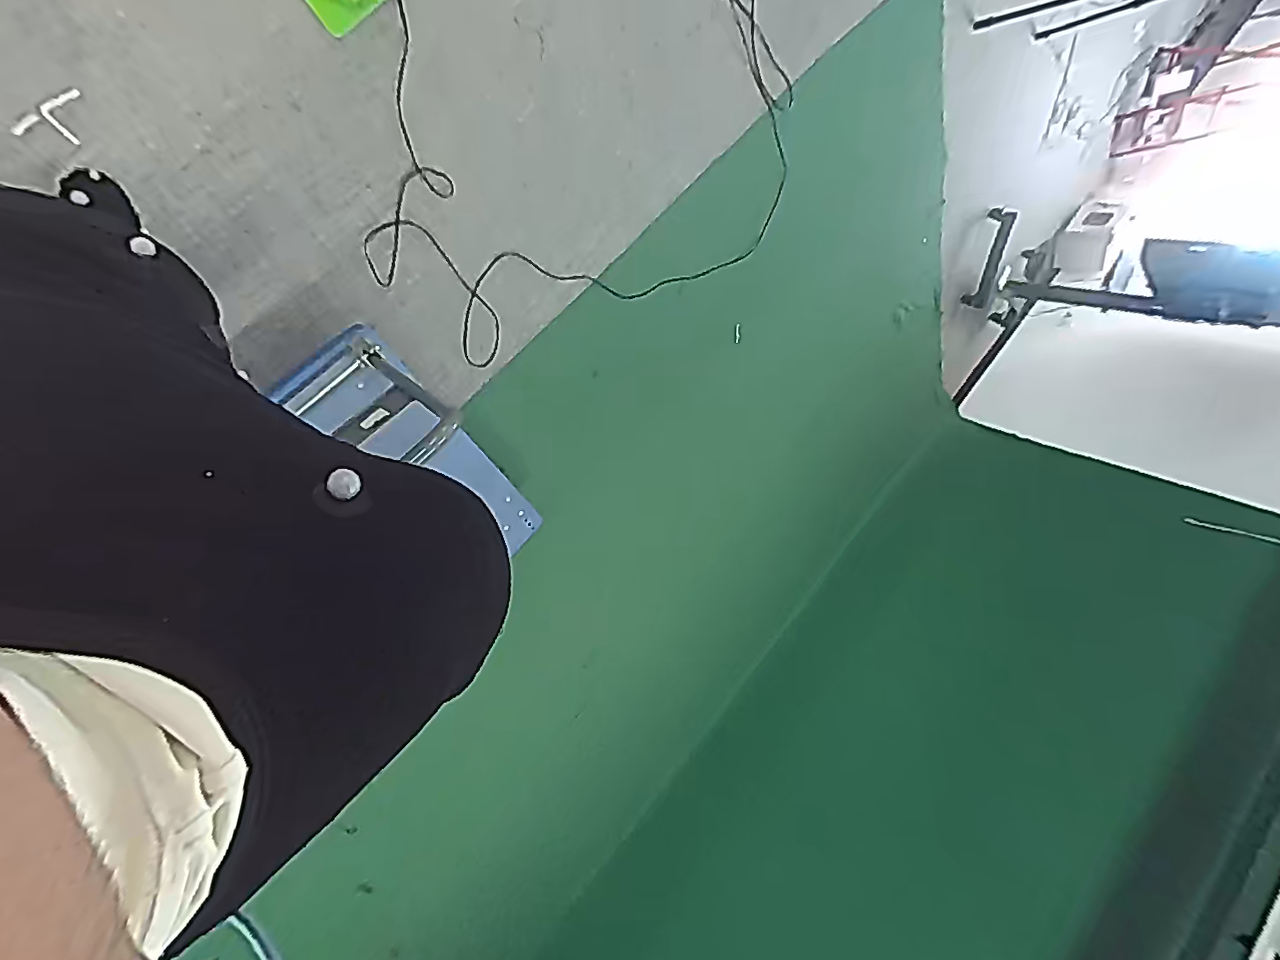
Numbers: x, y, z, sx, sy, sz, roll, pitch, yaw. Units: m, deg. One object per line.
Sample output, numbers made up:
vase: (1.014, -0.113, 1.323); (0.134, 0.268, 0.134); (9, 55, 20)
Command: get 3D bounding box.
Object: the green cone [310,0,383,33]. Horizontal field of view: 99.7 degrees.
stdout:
green cone: (-0.533, -1.034, 1.021); (0.202, 0.368, 0.200); (-52, 138, -10)
